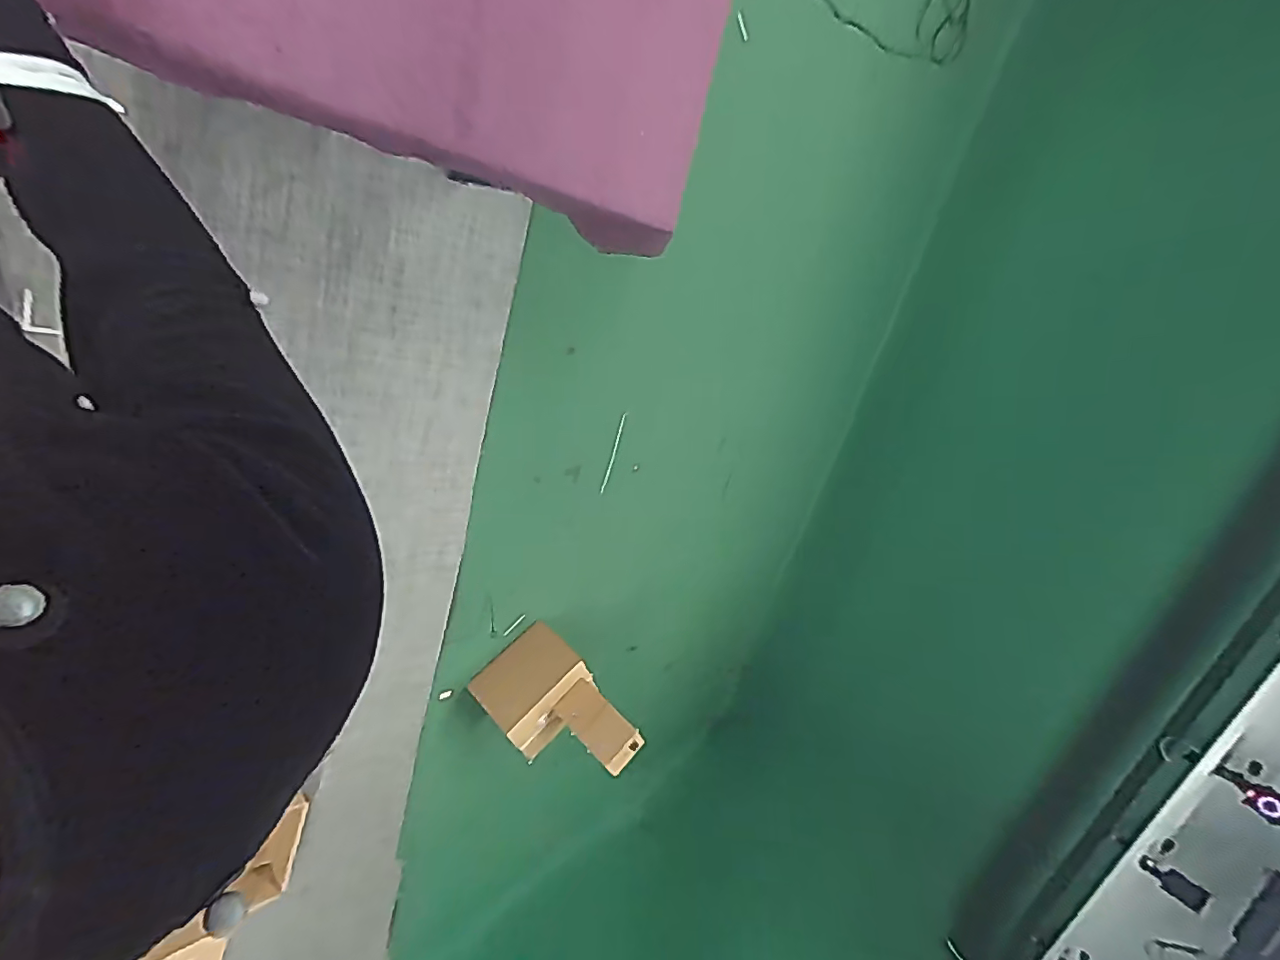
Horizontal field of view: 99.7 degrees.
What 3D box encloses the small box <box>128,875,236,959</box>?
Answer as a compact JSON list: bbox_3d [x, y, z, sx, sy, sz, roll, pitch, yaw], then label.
[{"bbox_3d":[-1.192,1.191,1.402,0.179,0.176,0.168,4,111,-54],"label":"small box"}]
